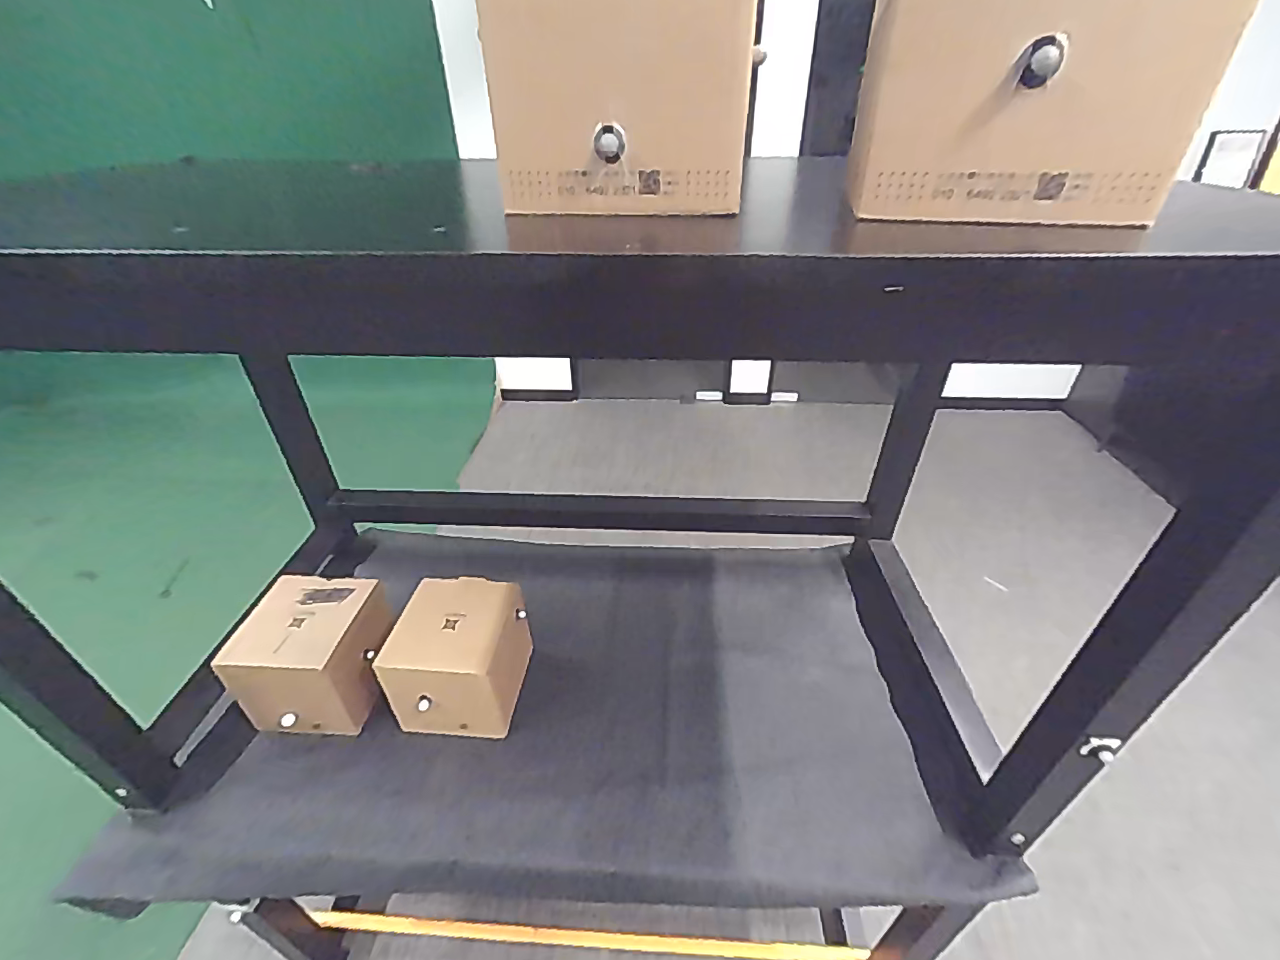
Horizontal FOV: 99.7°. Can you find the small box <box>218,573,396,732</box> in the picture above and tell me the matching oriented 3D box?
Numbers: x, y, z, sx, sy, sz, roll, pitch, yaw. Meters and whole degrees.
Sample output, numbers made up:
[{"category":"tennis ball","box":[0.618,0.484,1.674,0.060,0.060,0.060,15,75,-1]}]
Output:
[{"category":"small box","box":[-0.510,0.274,0.869,0.168,0.176,0.179,2,35,3]}]

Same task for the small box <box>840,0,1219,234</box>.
[{"category":"small box","box":[0.238,-0.272,0.367,0.168,0.176,0.179,8,35,12]}]

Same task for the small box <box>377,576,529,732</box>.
[{"category":"small box","box":[-0.283,0.278,0.866,0.168,0.176,0.179,2,34,4]}]
